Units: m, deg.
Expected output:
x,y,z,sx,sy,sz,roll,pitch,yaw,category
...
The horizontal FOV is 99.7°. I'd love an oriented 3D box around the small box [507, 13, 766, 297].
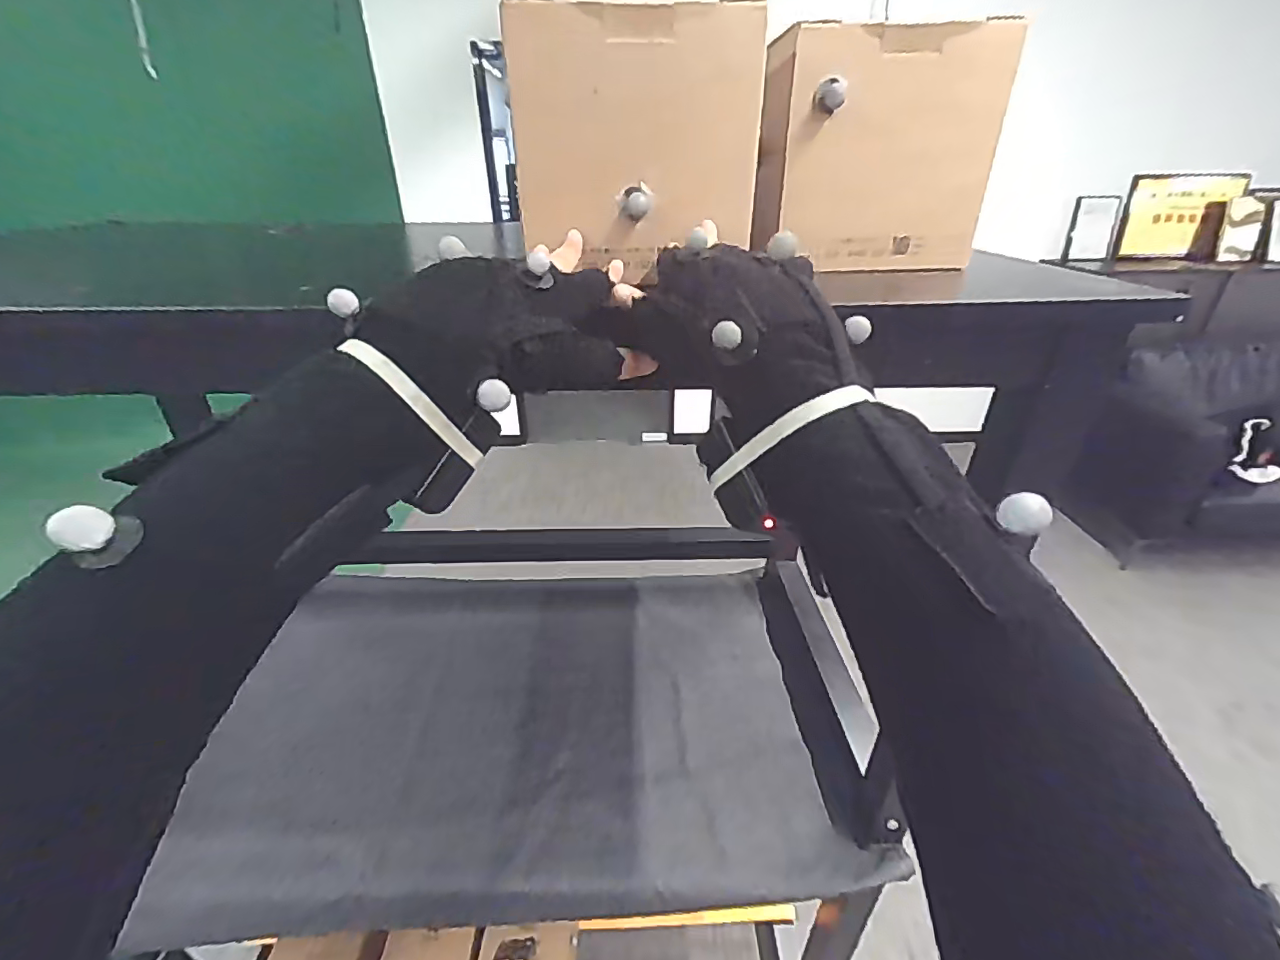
x,y,z,sx,sy,sz,roll,pitch,yaw,category
-0.006,-0.255,0.446,0.168,0.176,0.179,-2,31,-3,small box
